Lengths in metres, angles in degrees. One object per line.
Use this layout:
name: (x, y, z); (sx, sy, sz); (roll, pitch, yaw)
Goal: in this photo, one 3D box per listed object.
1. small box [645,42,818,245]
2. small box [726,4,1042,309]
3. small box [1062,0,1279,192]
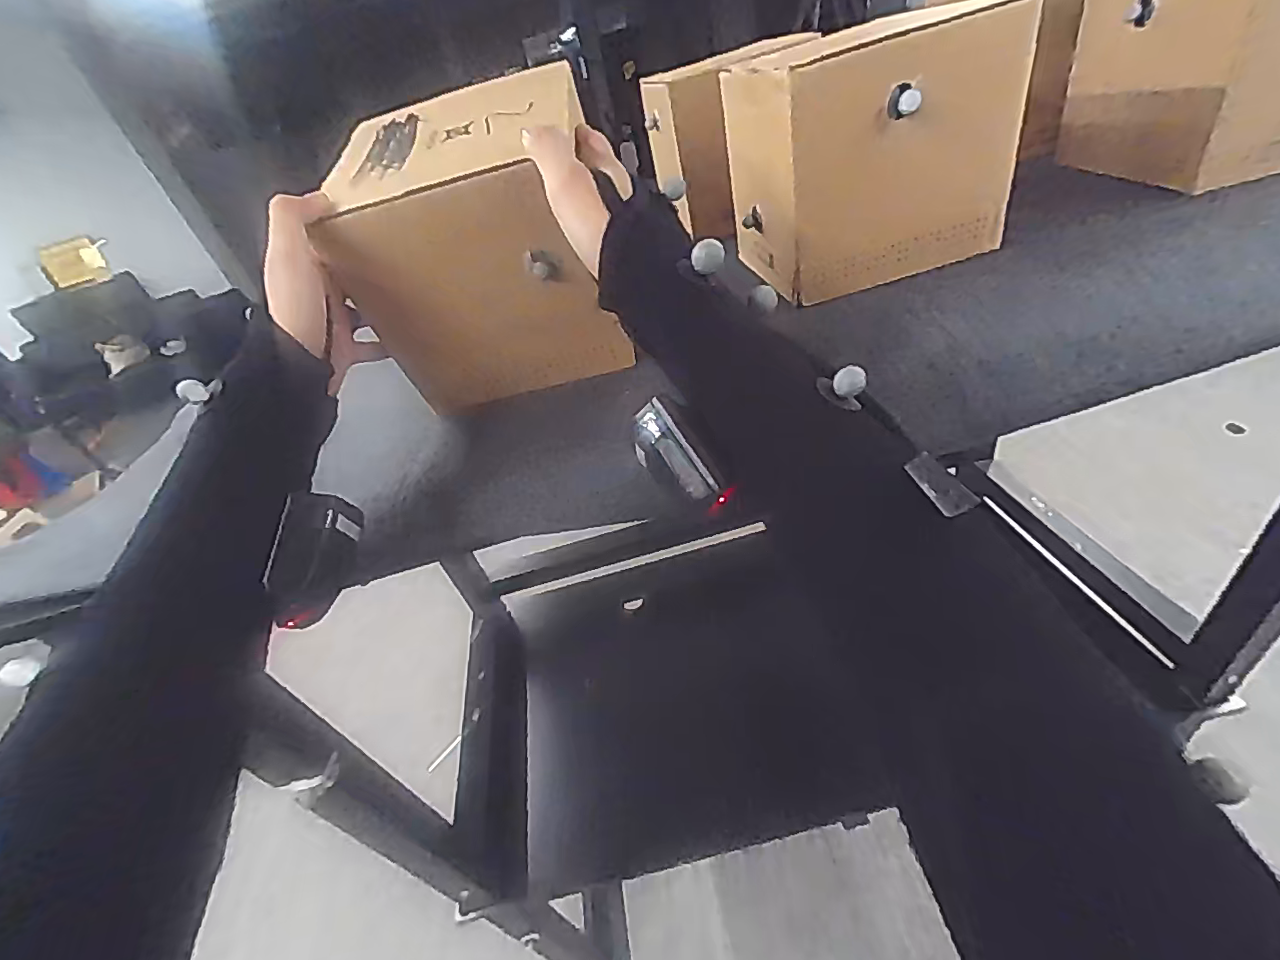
small box: (0.113, -0.408, 0.665); (0.168, 0.176, 0.179); (-16, 38, 2)
small box: (0.188, -0.272, 0.466); (0.179, 0.176, 0.168); (-17, 37, 1)
small box: (0.501, -0.358, 0.450); (0.168, 0.176, 0.179); (-12, 37, 7)
